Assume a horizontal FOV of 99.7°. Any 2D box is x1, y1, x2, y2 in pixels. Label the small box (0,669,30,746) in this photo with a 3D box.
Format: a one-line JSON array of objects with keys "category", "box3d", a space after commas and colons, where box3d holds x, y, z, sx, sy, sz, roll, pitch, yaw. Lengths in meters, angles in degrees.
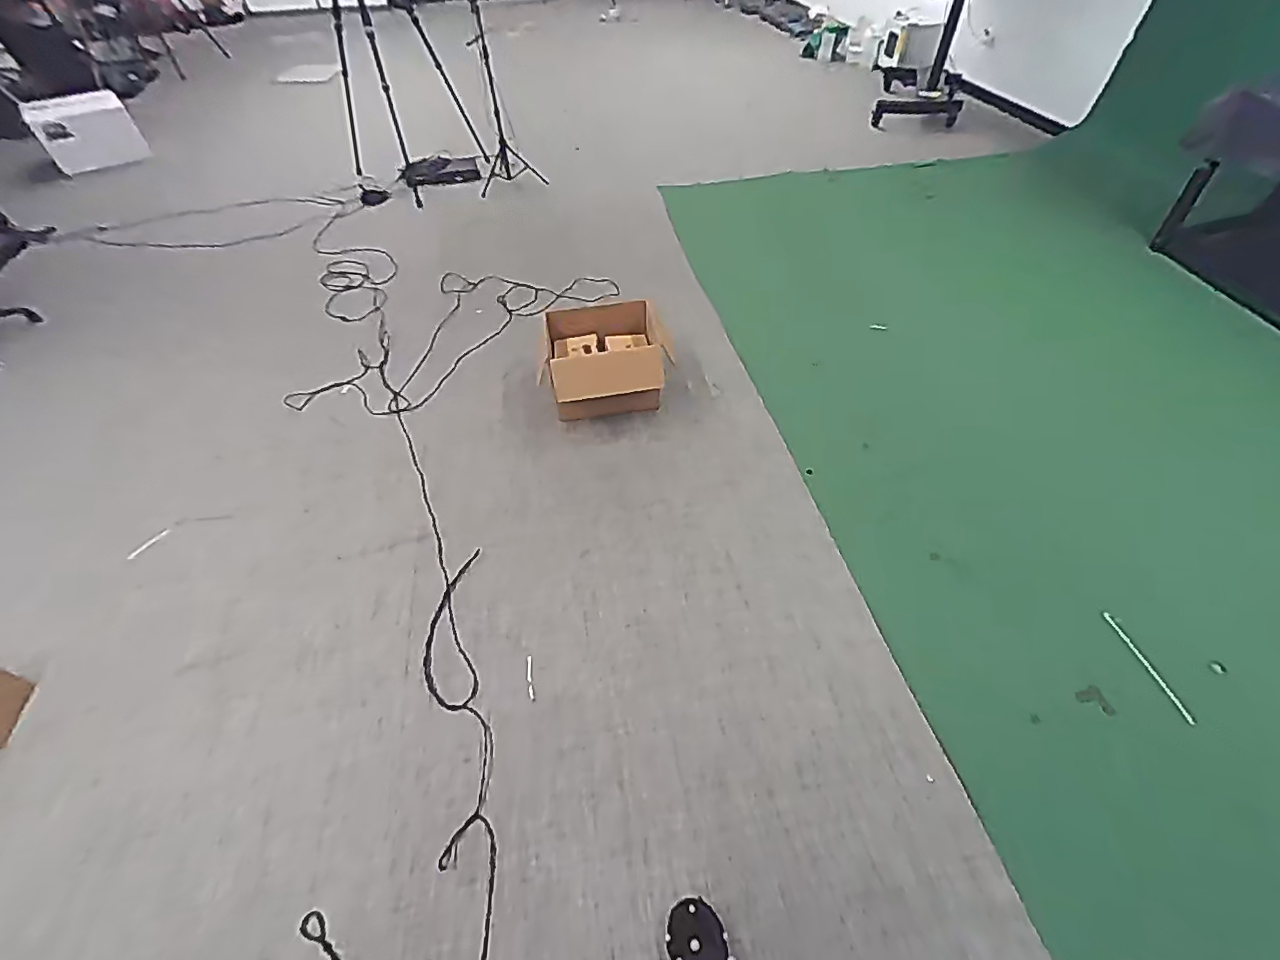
[{"category": "small box", "box3d": [-1.723, 0.580, 1.361, 0.168, 0.176, 0.179, -10, 52, -8]}]
